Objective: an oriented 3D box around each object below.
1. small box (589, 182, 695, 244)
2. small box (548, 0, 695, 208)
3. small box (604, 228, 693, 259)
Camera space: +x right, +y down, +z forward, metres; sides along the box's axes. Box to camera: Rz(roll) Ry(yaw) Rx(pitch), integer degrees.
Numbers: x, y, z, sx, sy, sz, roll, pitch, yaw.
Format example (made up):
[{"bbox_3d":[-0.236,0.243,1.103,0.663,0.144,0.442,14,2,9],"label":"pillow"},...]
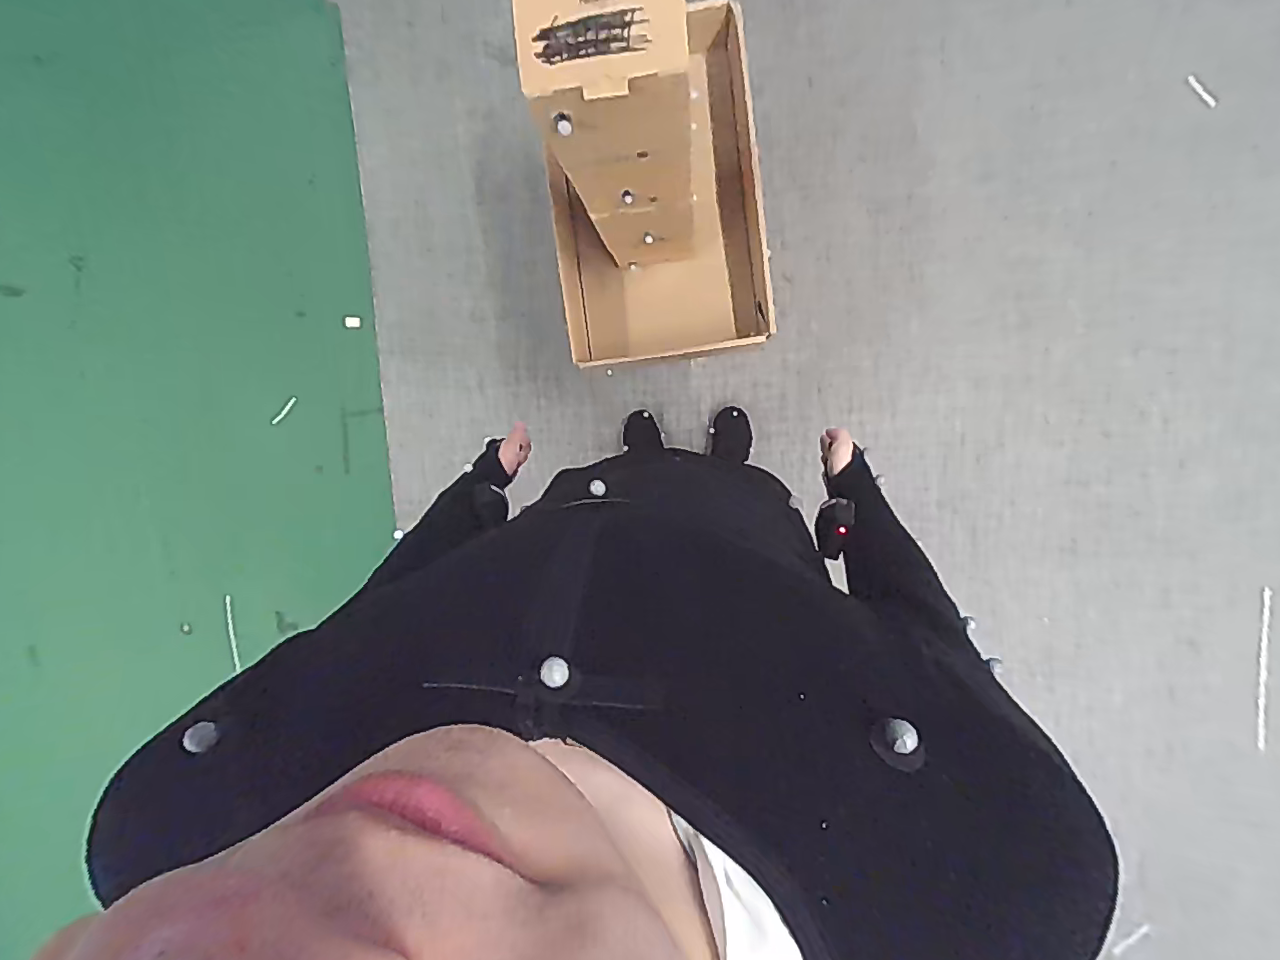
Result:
[{"bbox_3d":[0.001,-0.520,0.902,0.168,0.176,0.179,-6,96,7],"label":"small box"},{"bbox_3d":[-0.017,-0.504,0.742,0.168,0.176,0.179,-7,97,6],"label":"small box"},{"bbox_3d":[0.016,-0.550,1.063,0.168,0.176,0.179,-5,95,6],"label":"small box"}]
